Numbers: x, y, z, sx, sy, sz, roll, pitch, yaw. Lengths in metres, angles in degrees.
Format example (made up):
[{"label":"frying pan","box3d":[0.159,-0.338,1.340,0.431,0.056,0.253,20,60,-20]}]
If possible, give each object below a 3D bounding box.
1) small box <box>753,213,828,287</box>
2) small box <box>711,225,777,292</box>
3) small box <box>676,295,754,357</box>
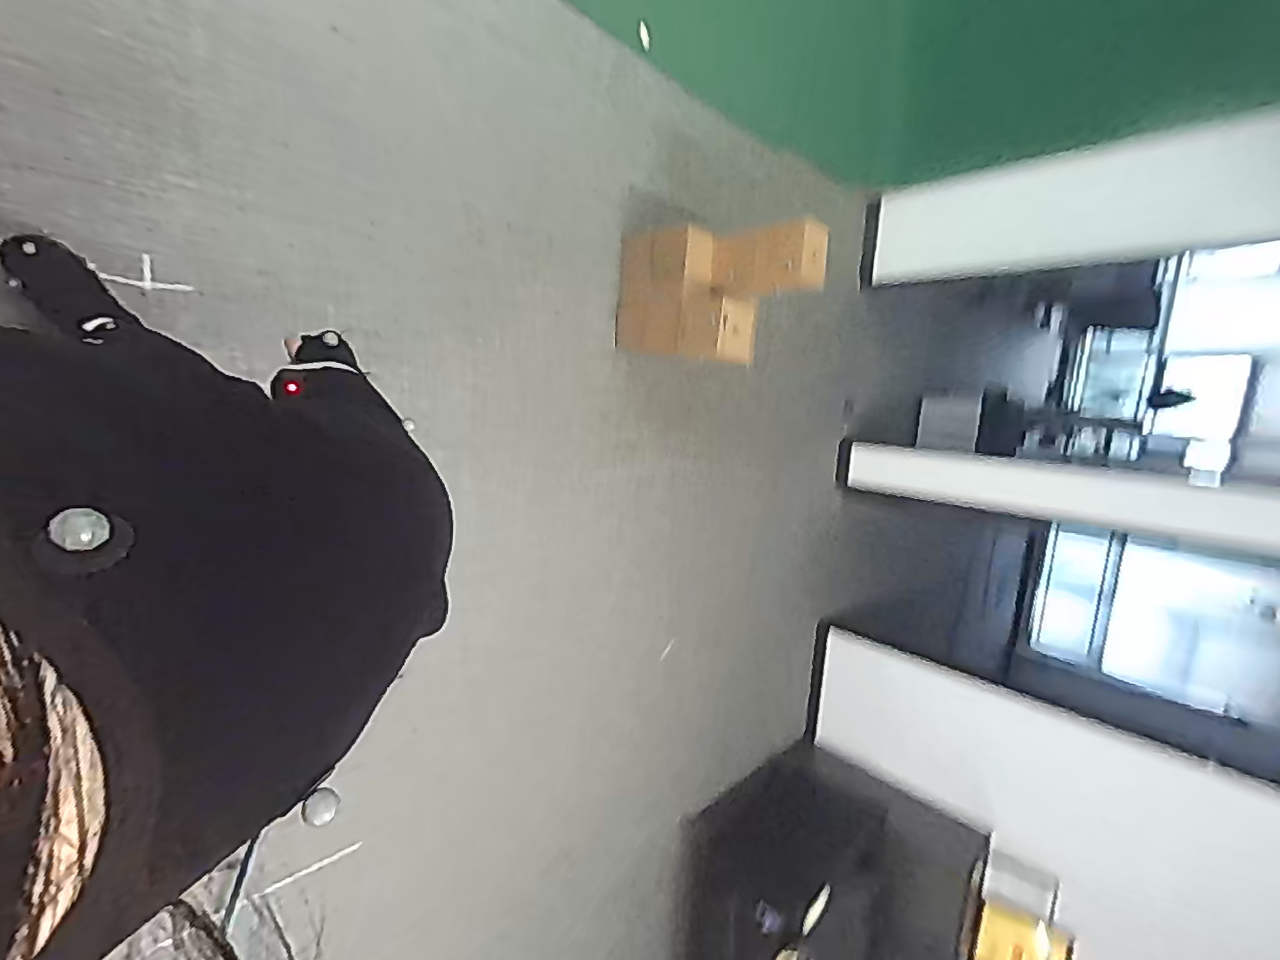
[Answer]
[{"label":"small box","box3d":[0.474,-0.720,1.711,0.168,0.176,0.179,-9,105,-46]},{"label":"small box","box3d":[0.354,-0.737,1.820,0.168,0.176,0.179,-10,105,-46]},{"label":"small box","box3d":[0.243,-0.496,1.753,0.179,0.176,0.168,-1,100,-47]}]
